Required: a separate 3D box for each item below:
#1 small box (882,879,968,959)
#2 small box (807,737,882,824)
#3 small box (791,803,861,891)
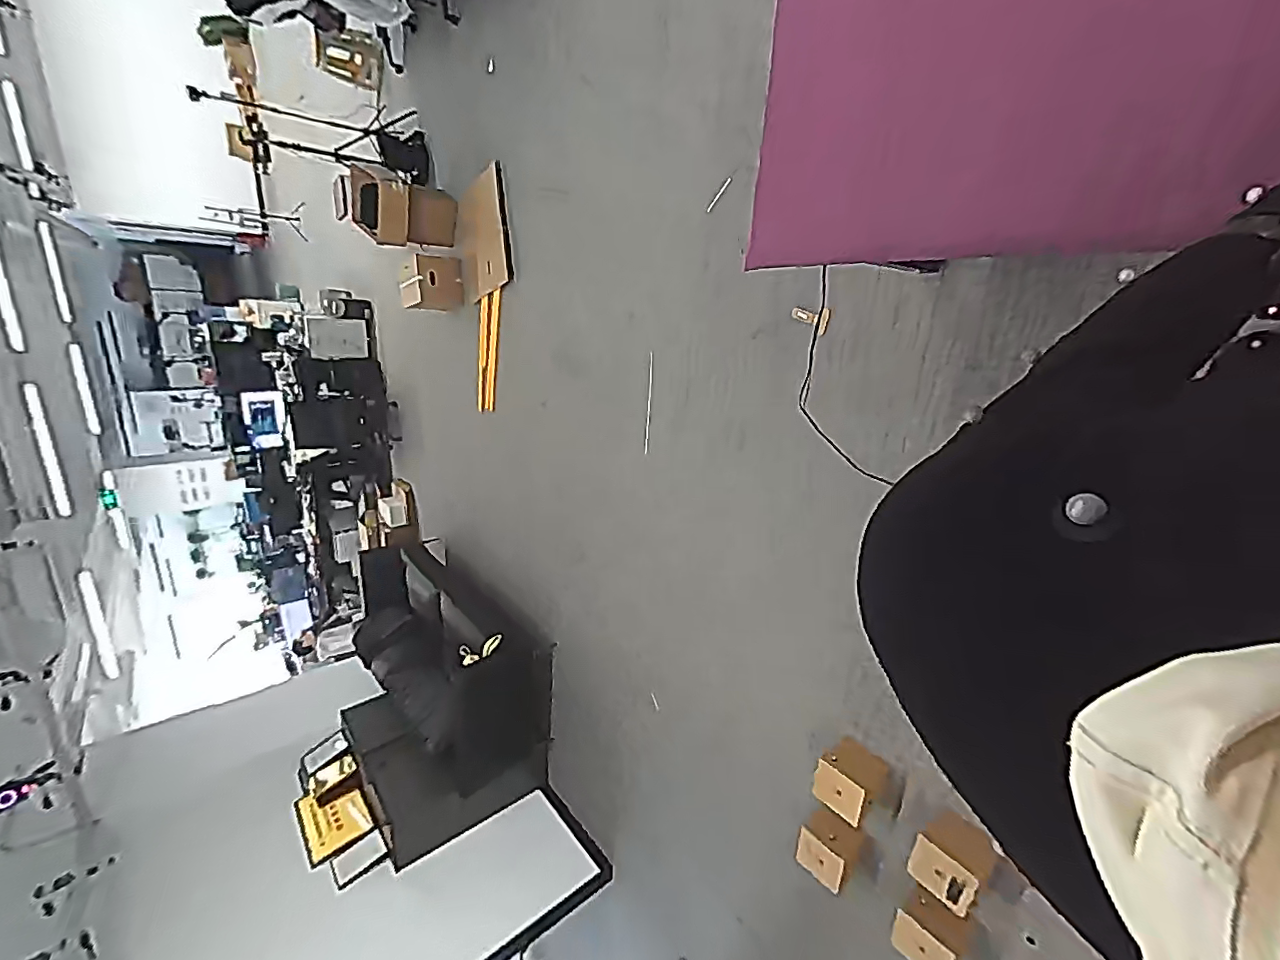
[{"bbox_3d":[0.923,1.445,1.749,0.179,0.176,0.168,24,118,45],"label":"small box"},{"bbox_3d":[0.720,1.043,1.898,0.179,0.176,0.168,23,117,46],"label":"small box"},{"bbox_3d":[0.690,1.348,2.003,0.179,0.176,0.168,24,116,46],"label":"small box"}]
